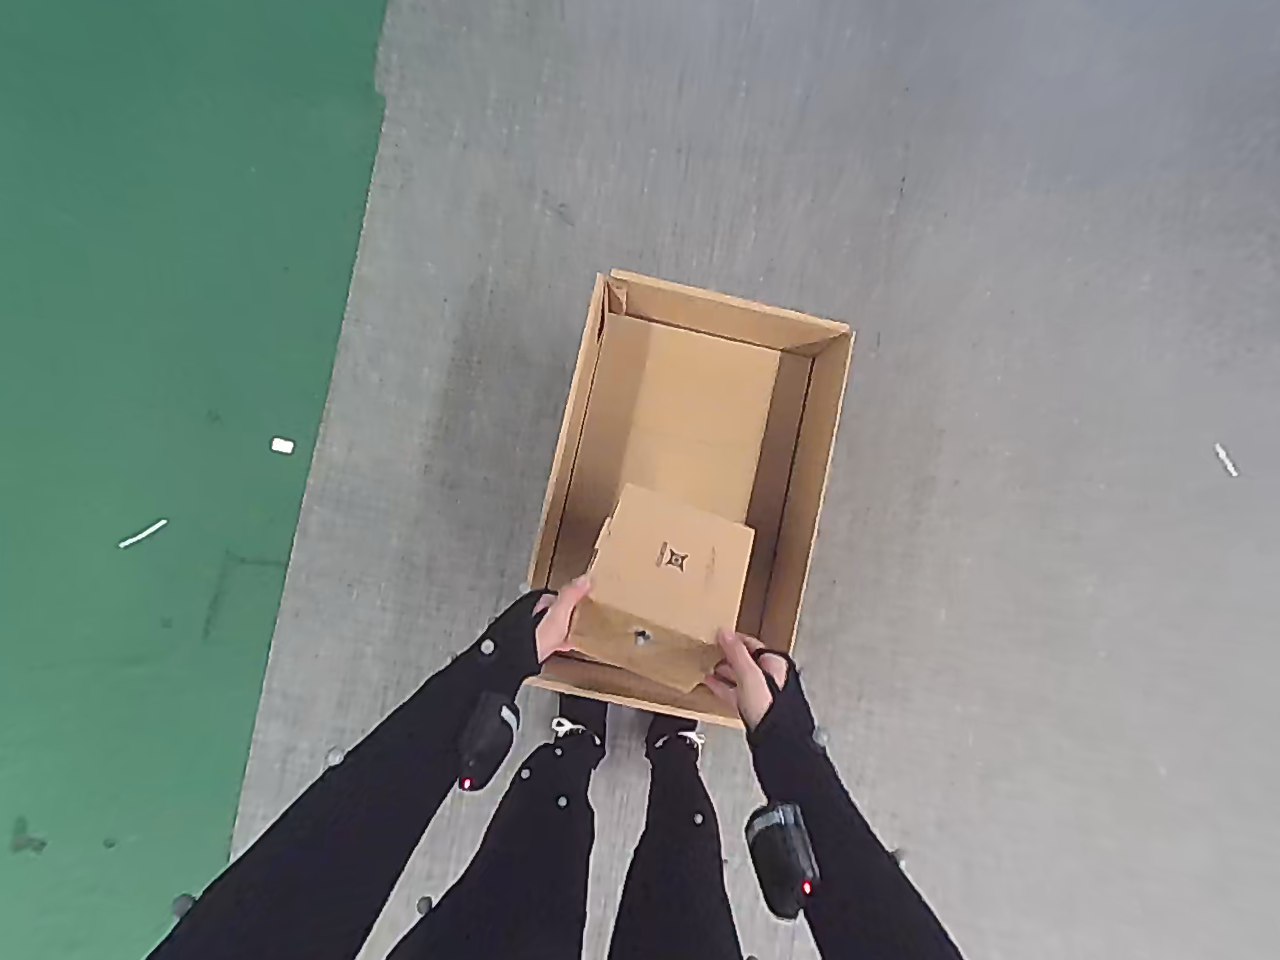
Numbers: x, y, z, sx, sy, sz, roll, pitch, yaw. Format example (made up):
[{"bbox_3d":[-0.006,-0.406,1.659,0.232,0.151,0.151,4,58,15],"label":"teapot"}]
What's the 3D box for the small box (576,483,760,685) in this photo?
[{"bbox_3d":[0.029,0.138,0.690,0.179,0.176,0.168,21,51,1],"label":"small box"}]
